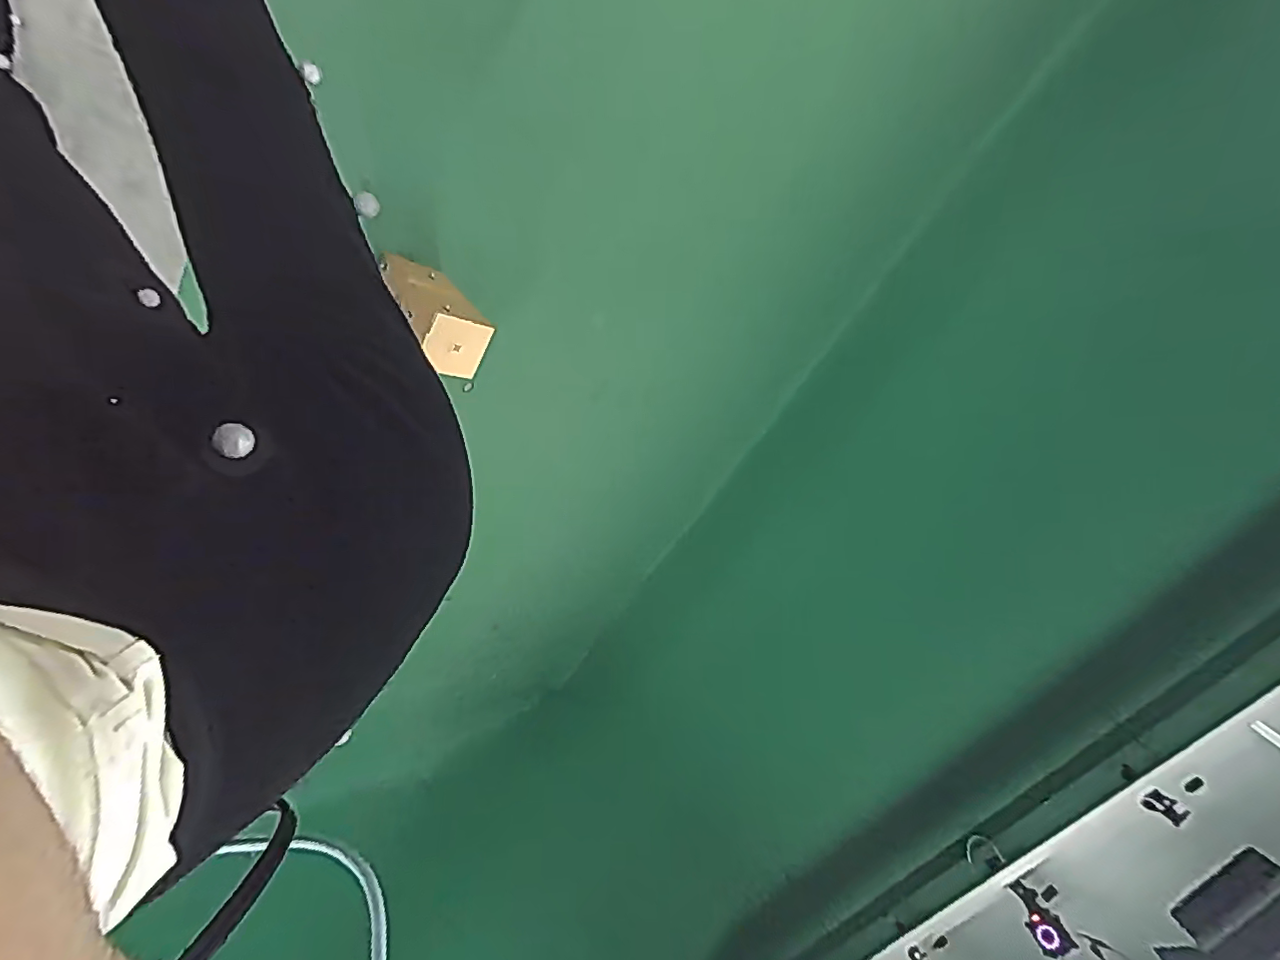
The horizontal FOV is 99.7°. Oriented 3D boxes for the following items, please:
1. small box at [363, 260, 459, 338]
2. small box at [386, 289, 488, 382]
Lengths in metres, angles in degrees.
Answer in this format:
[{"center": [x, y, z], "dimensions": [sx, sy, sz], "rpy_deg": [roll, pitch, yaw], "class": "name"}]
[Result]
[{"center": [-0.653, -0.496, 1.532], "dimensions": [0.179, 0.176, 0.168], "rpy_deg": [2, 128, -53], "class": "small box"}, {"center": [-0.552, -0.390, 1.461], "dimensions": [0.179, 0.176, 0.168], "rpy_deg": [2, 128, -52], "class": "small box"}]
